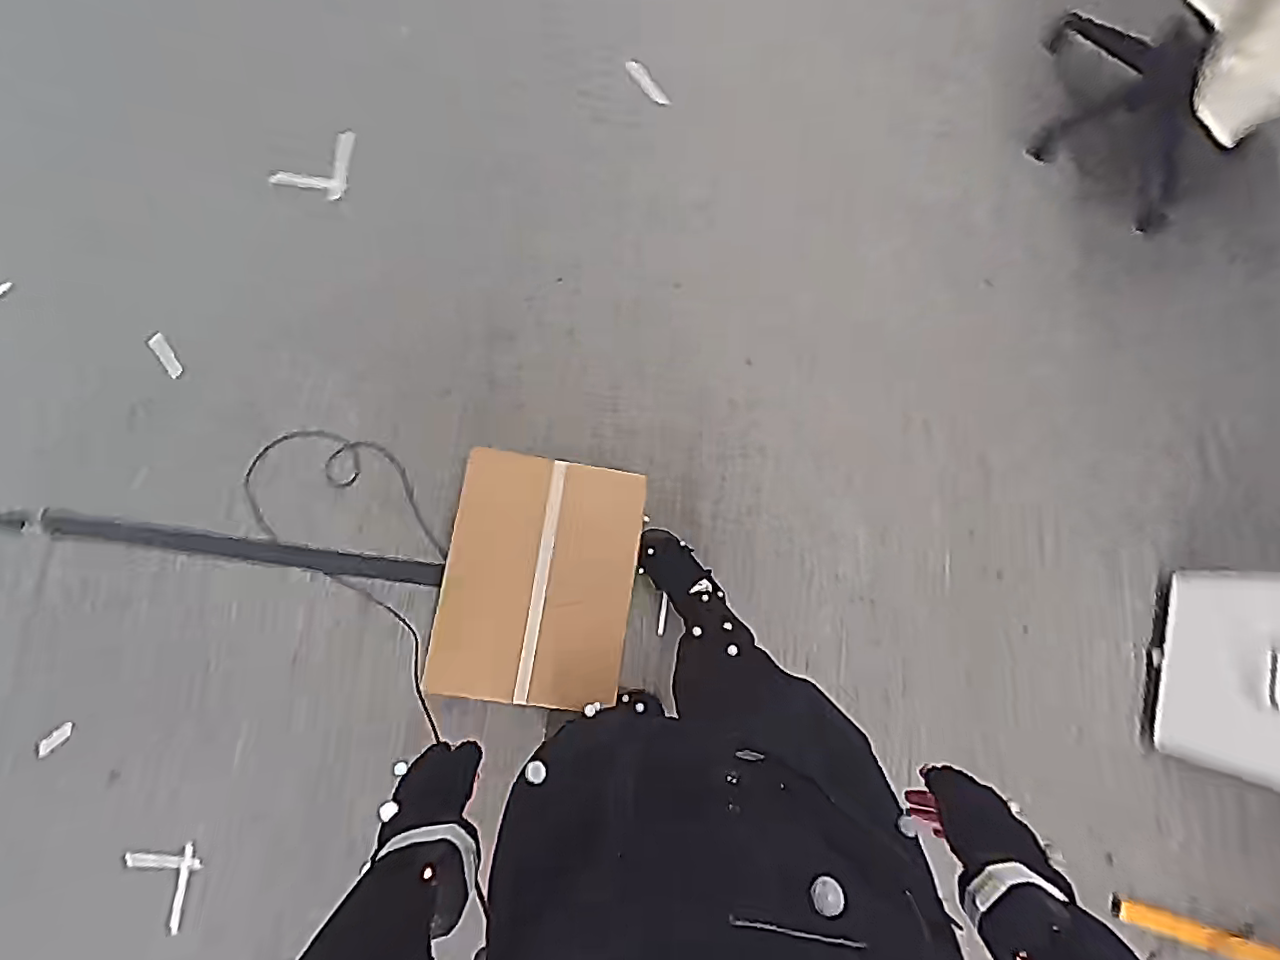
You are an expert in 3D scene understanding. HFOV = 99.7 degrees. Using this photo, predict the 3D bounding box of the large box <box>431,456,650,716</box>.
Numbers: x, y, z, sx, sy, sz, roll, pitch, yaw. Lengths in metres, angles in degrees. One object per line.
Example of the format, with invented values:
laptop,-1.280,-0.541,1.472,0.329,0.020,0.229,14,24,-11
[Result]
large box,-0.176,0.194,1.055,0.320,0.320,0.408,10,80,-4
